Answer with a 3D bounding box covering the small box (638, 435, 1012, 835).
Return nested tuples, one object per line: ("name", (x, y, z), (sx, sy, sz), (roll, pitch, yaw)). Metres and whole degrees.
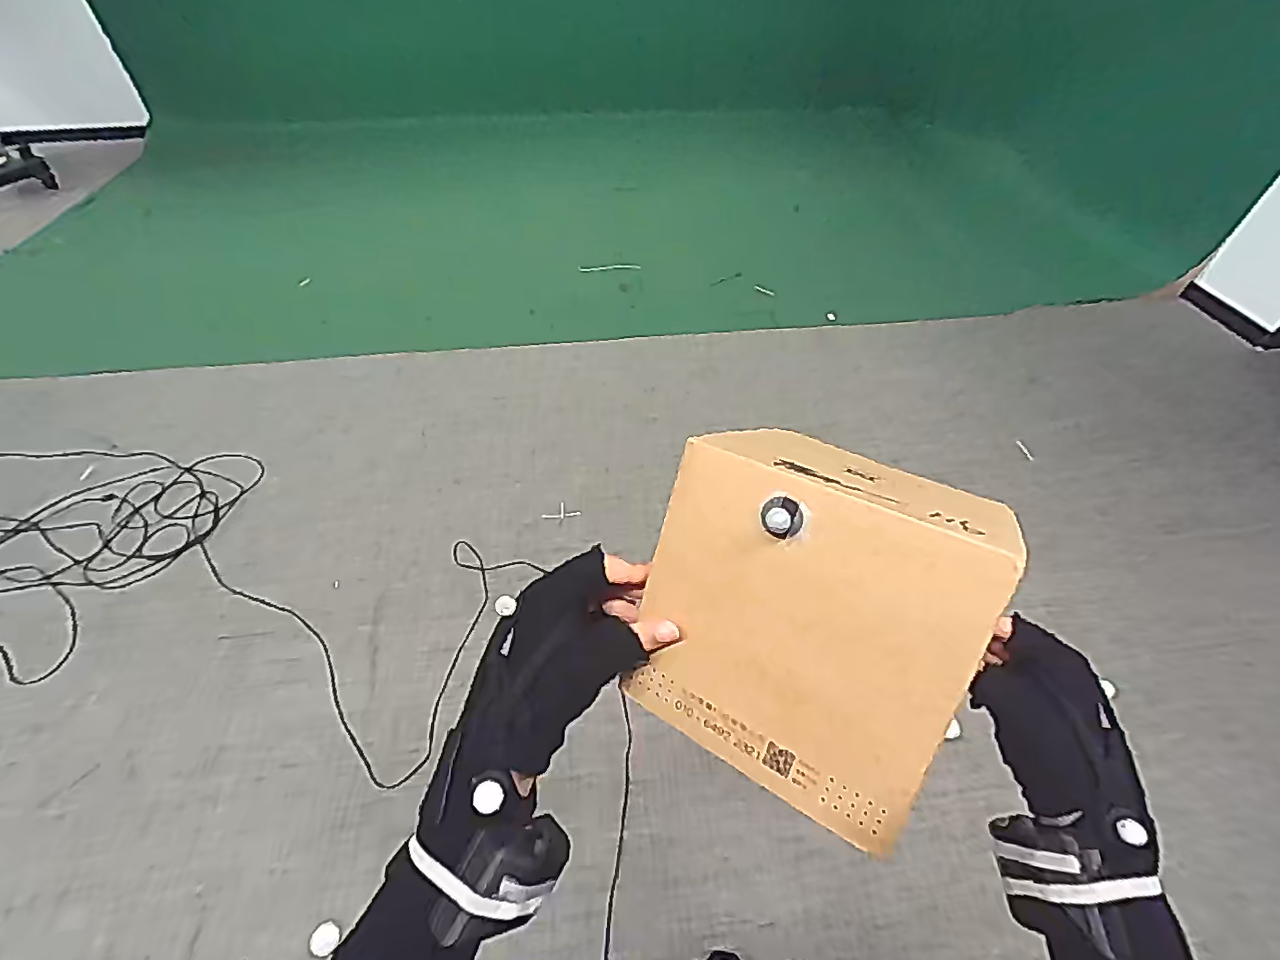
("small box", (0.119, 0.076, 0.362), (0.168, 0.176, 0.179), (22, 16, 29))
